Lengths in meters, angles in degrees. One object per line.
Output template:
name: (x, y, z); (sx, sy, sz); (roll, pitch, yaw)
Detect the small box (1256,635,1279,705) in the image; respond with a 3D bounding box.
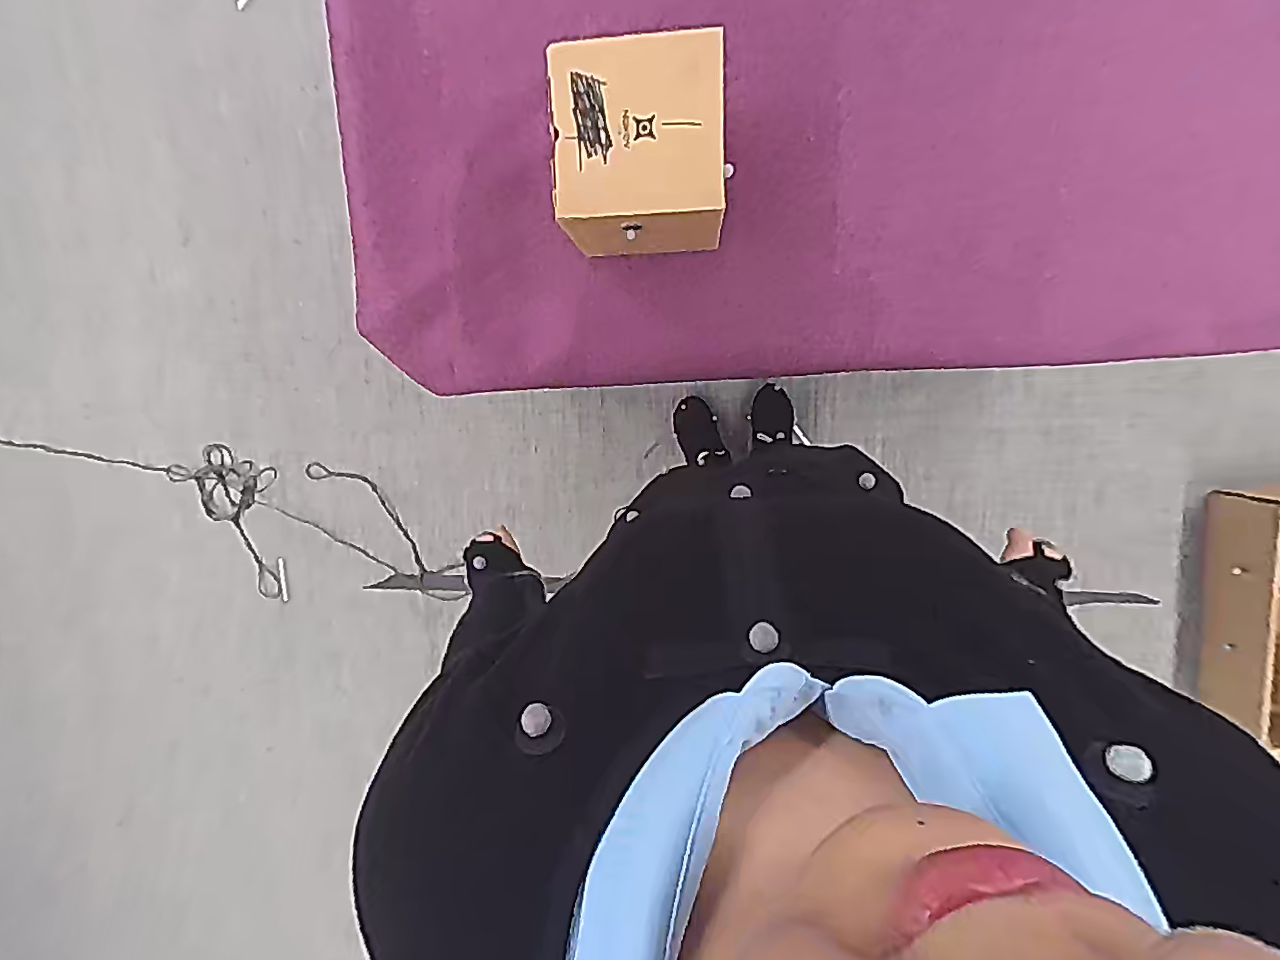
small box: (1.649, 0.478, 1.290); (0.179, 0.176, 0.168); (-4, 100, 6)

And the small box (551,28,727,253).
small box: (0.007, -0.367, 0.620); (0.179, 0.176, 0.168); (-1, 100, 5)
